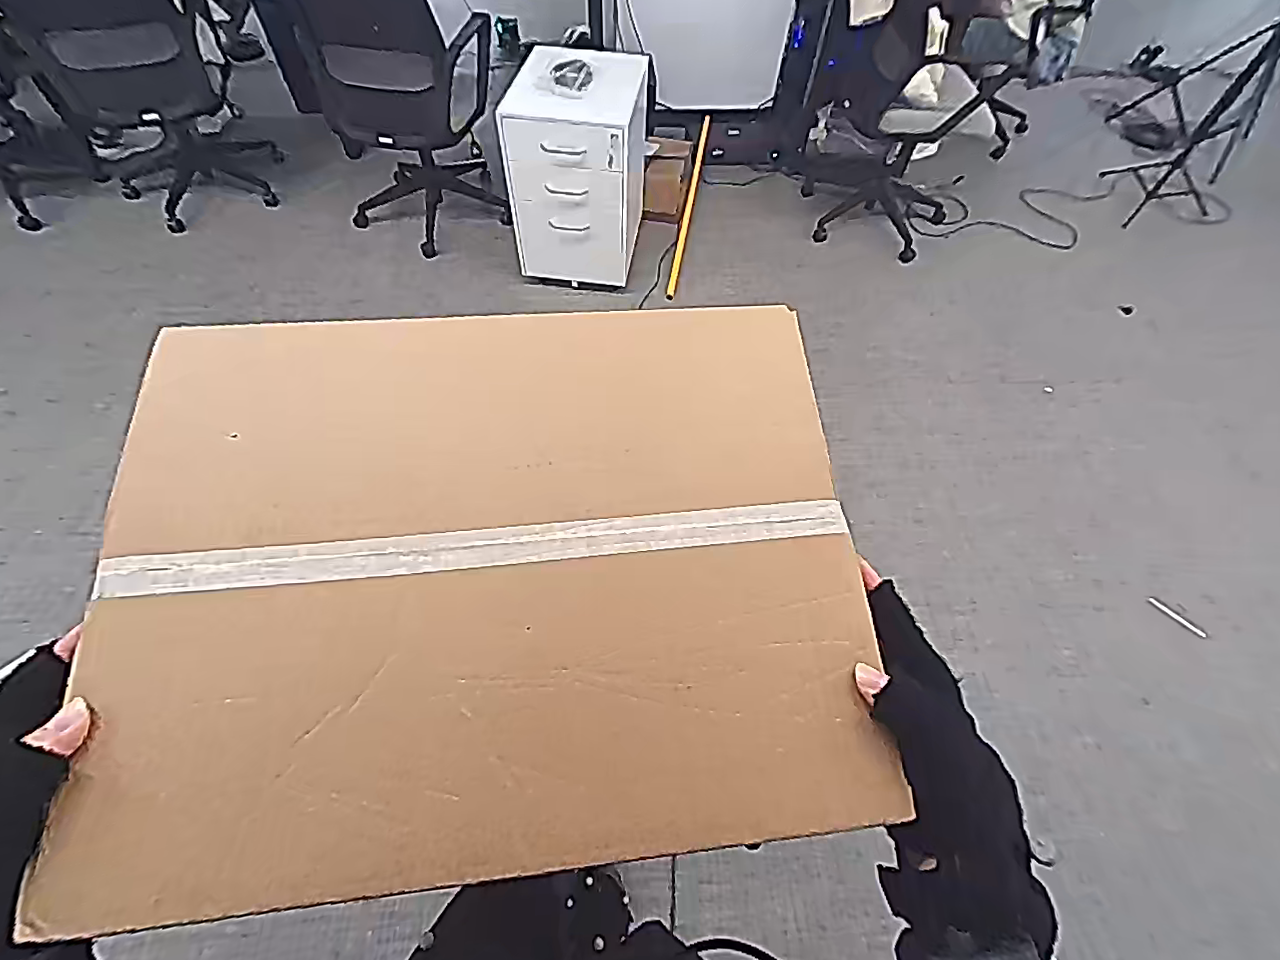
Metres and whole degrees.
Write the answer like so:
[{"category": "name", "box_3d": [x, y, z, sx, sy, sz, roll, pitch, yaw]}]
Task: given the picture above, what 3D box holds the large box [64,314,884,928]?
[{"category": "large box", "box_3d": [-0.091, 0.093, 0.452, 0.408, 0.320, 0.320, -4, 69, -5]}]
